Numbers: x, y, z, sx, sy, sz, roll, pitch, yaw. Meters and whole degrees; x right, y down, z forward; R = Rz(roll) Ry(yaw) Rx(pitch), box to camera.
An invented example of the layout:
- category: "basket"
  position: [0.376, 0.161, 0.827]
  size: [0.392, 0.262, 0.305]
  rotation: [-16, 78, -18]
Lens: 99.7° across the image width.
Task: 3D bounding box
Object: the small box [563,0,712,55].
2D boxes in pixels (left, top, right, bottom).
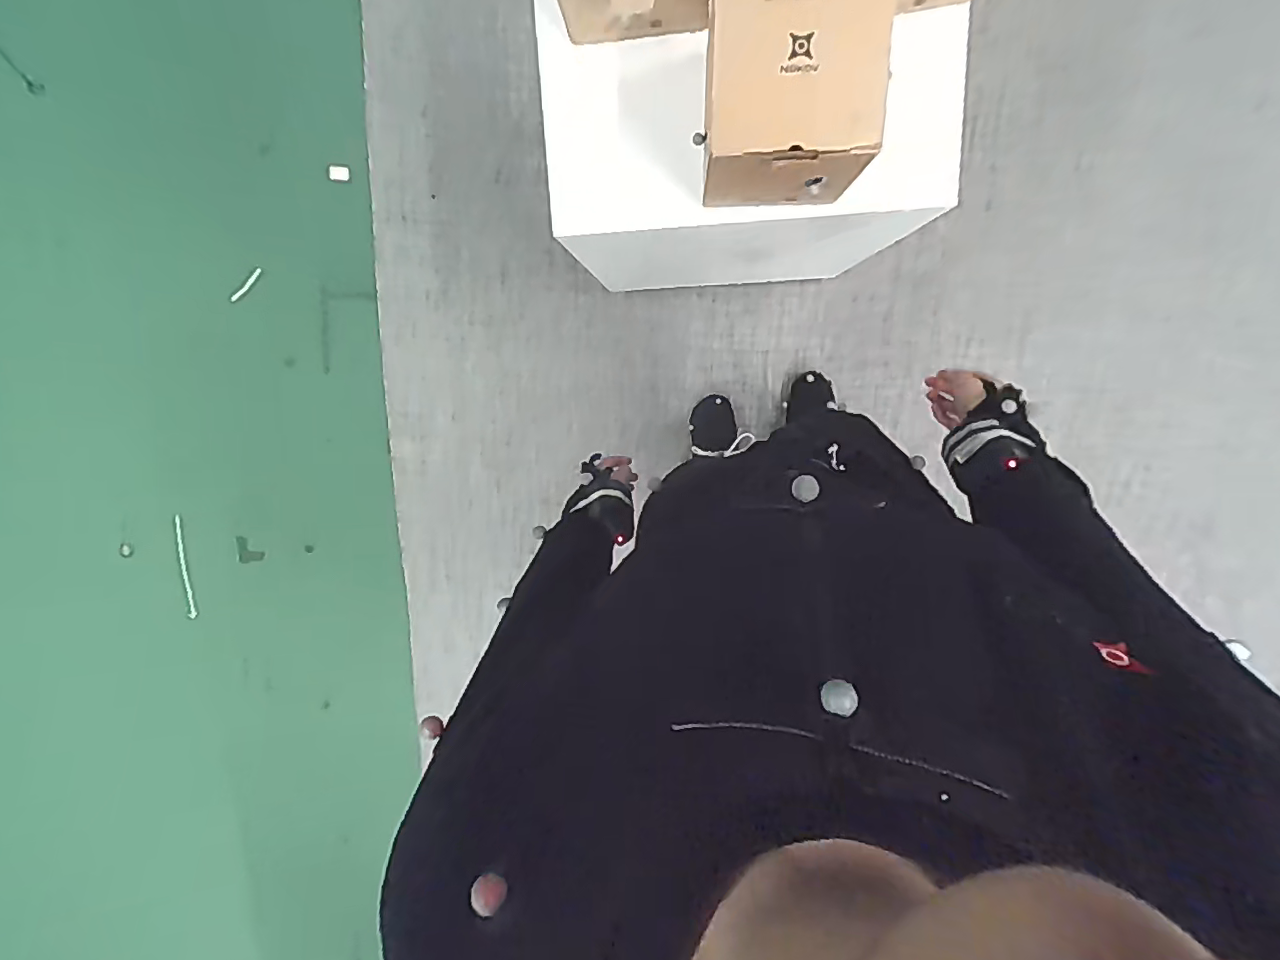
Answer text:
- category: "small box"
  position: [-0.008, -0.593, 0.562]
  size: [0.168, 0.176, 0.179]
  rotation: [-3, 102, 5]

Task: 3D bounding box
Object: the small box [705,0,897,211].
- category: "small box"
  position: [0.158, -0.404, 0.585]
  size: [0.168, 0.176, 0.179]
  rotation: [2, 101, 4]
